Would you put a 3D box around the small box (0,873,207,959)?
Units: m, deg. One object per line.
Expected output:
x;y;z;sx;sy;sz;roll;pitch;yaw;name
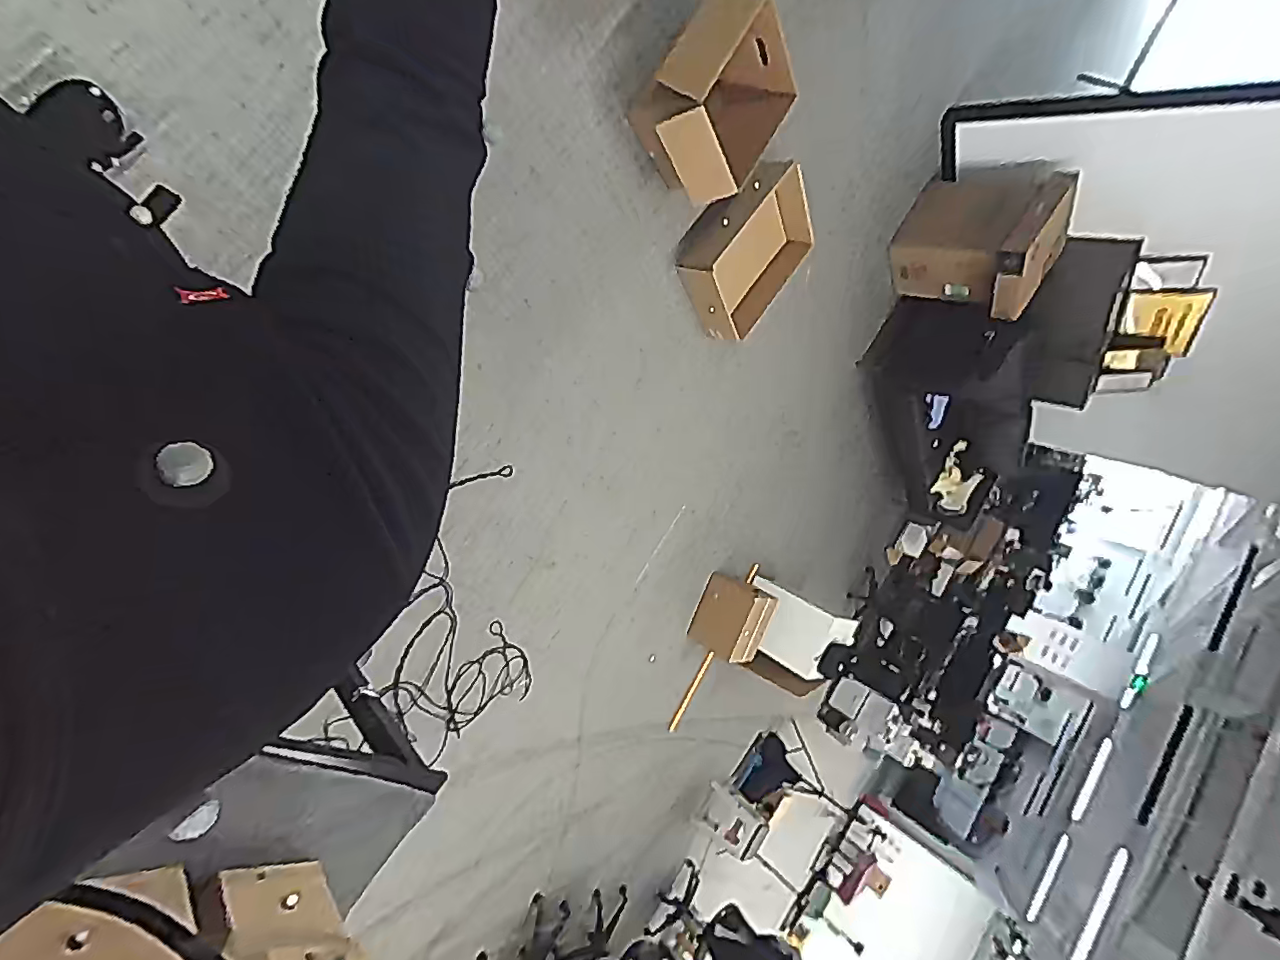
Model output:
-0.677;0.618;0.653;0.168;0.176;0.179;35;83;-50;small box

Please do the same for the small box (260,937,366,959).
-0.458;0.758;0.711;0.179;0.176;0.168;-53;139;-15;small box
